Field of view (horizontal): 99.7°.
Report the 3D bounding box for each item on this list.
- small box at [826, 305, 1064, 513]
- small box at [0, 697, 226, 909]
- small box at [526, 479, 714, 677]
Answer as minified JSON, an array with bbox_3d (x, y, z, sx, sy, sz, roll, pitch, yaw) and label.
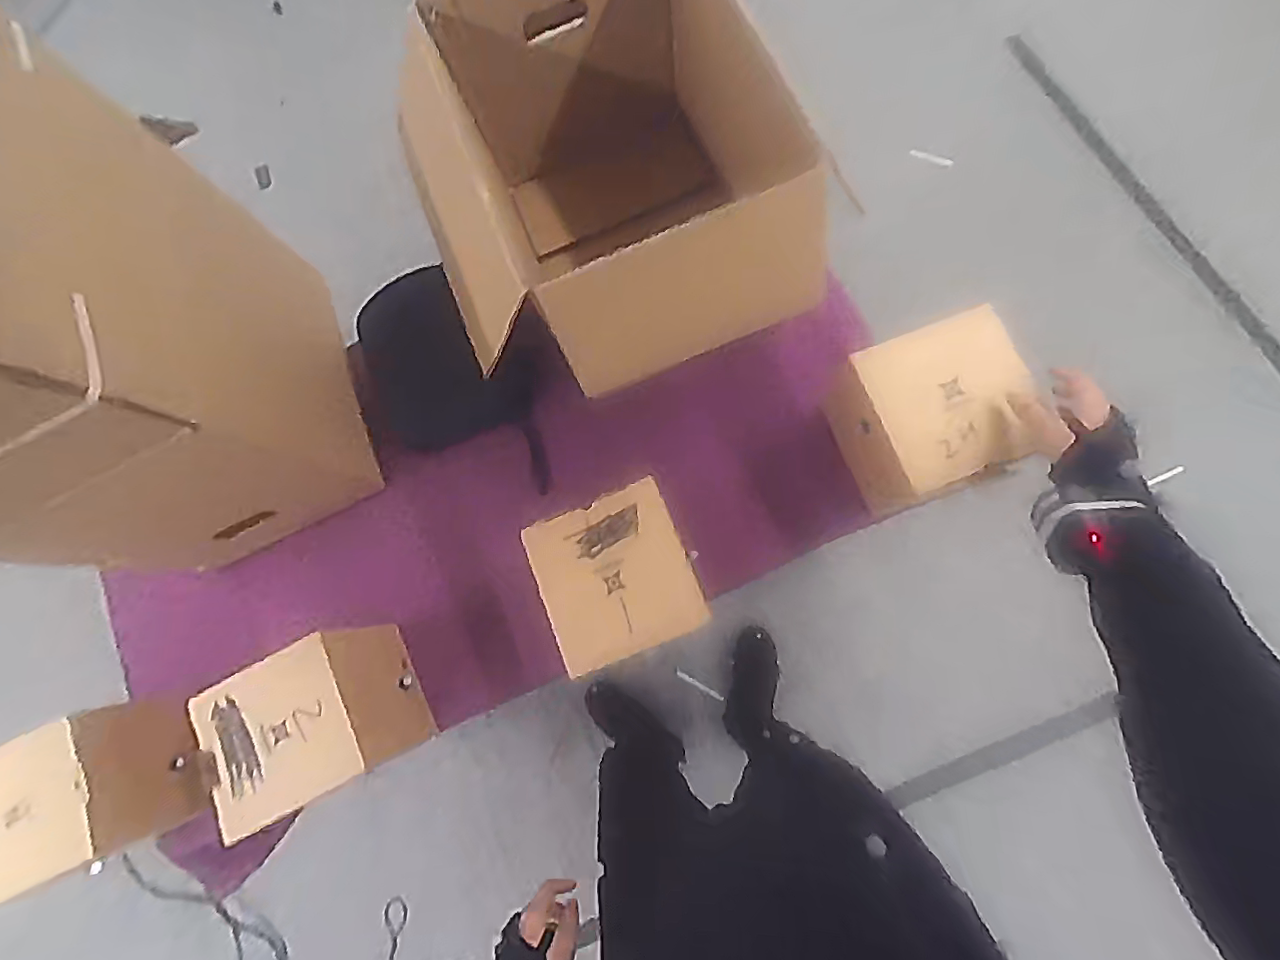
[{"bbox_3d":[0.349,-0.074,0.662,0.168,0.176,0.179,-20,77,4],"label":"small box"},{"bbox_3d":[-0.697,0.406,0.701,0.179,0.176,0.168,-27,76,0],"label":"small box"},{"bbox_3d":[-0.018,0.121,0.672,0.168,0.176,0.179,-23,77,3],"label":"small box"}]
